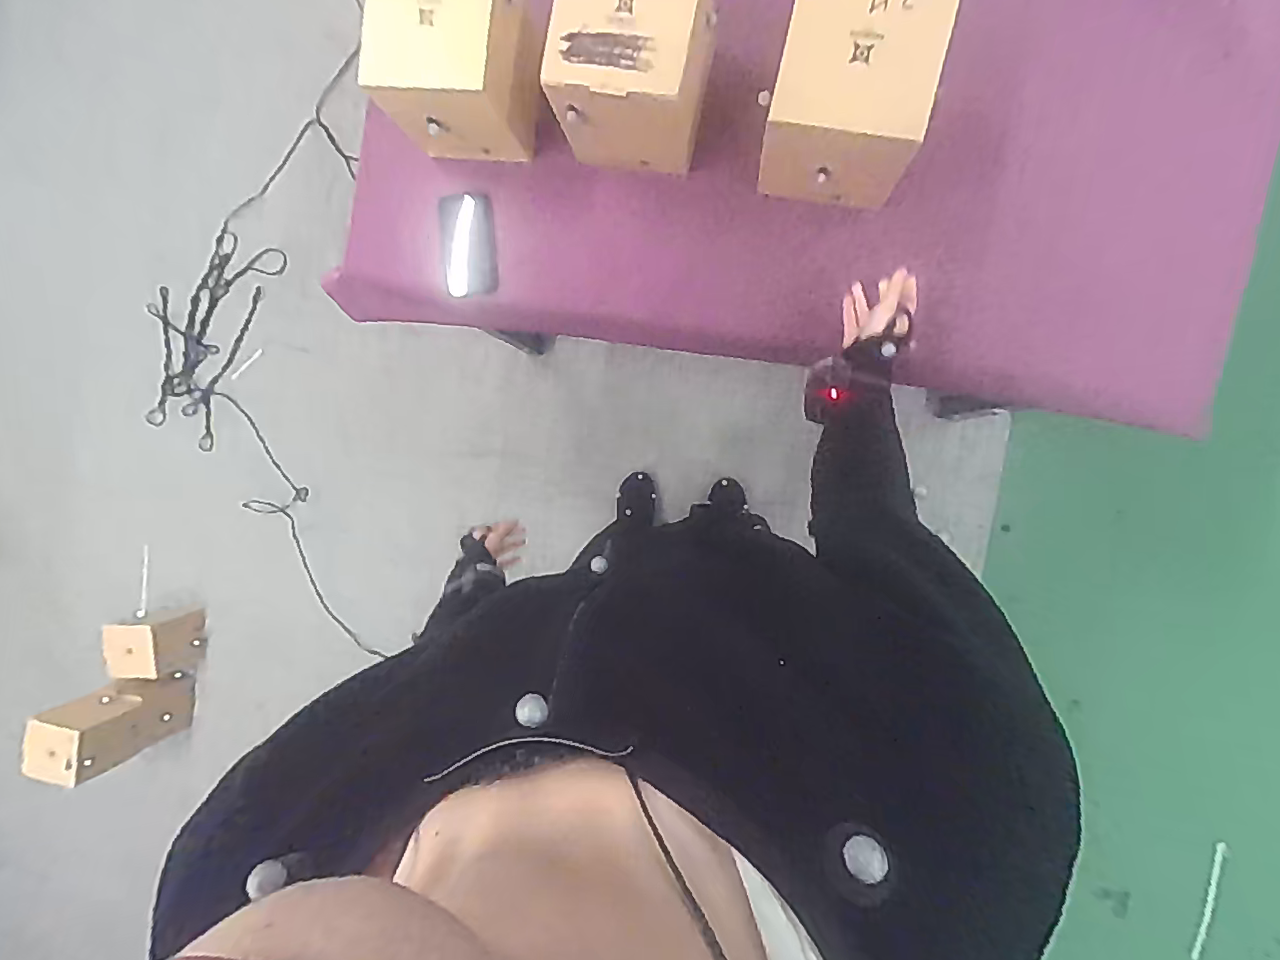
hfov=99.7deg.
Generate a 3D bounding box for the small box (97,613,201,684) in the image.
[{"bbox_3d":[-1.519,0.518,1.679,0.179,0.176,0.168,-2,94,8],"label":"small box"}]

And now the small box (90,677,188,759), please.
[{"bbox_3d":[-1.568,0.732,1.695,0.168,0.176,0.179,8,95,9],"label":"small box"}]

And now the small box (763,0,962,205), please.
[{"bbox_3d":[0.247,-0.456,0.641,0.168,0.176,0.179,14,94,7],"label":"small box"}]

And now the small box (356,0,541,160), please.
[{"bbox_3d":[-0.240,-0.552,0.712,0.168,0.176,0.179,8,93,8],"label":"small box"}]

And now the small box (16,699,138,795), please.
[{"bbox_3d":[-1.592,0.746,1.534,0.179,0.176,0.168,10,94,9],"label":"small box"}]
